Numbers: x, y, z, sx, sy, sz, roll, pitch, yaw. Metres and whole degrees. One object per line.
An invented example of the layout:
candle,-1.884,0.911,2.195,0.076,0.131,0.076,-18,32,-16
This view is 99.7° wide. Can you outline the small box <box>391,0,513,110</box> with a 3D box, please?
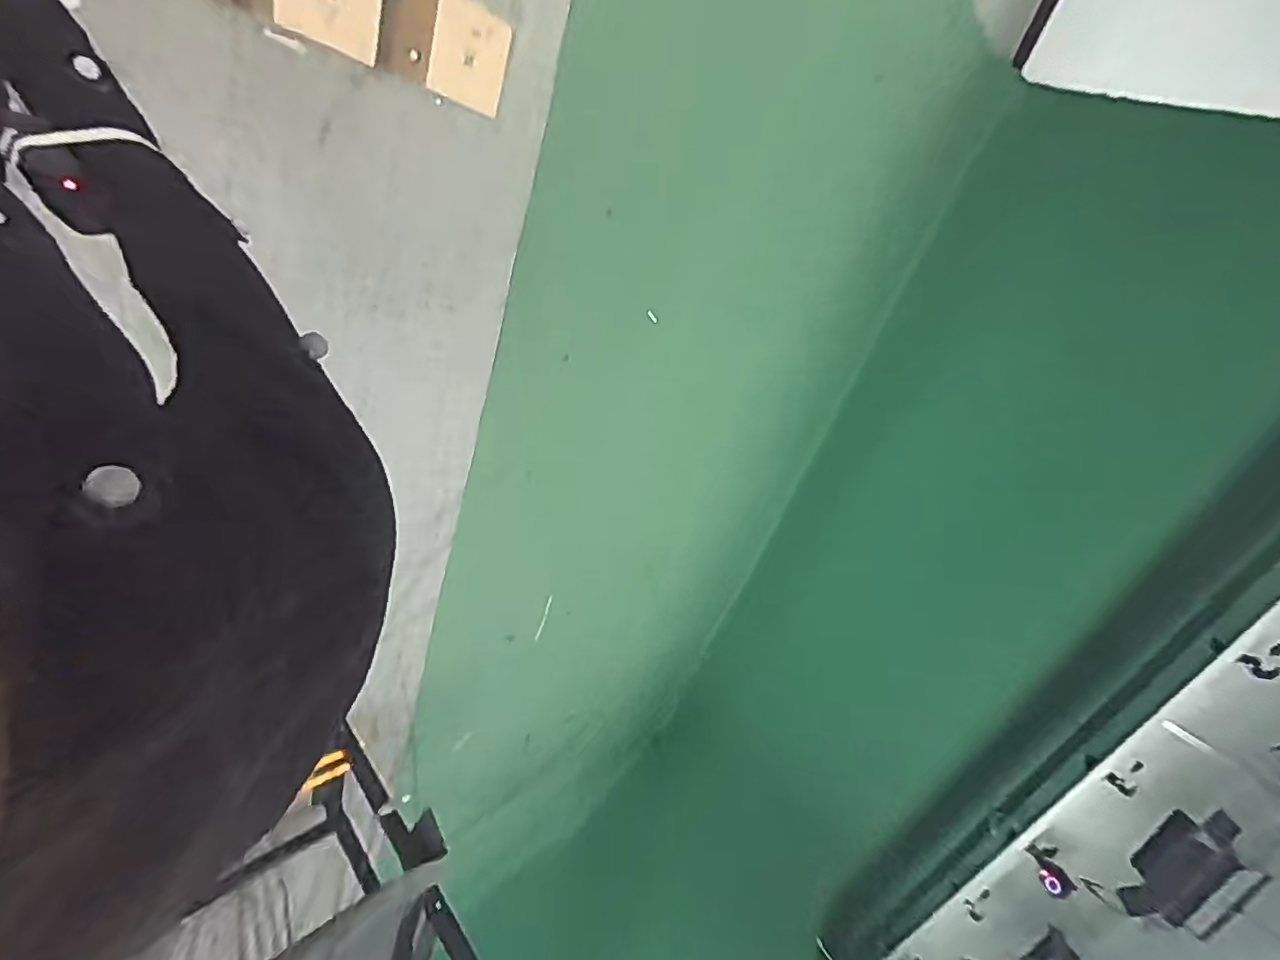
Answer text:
small box,-0.397,-0.916,1.127,0.168,0.176,0.179,-11,130,-49
